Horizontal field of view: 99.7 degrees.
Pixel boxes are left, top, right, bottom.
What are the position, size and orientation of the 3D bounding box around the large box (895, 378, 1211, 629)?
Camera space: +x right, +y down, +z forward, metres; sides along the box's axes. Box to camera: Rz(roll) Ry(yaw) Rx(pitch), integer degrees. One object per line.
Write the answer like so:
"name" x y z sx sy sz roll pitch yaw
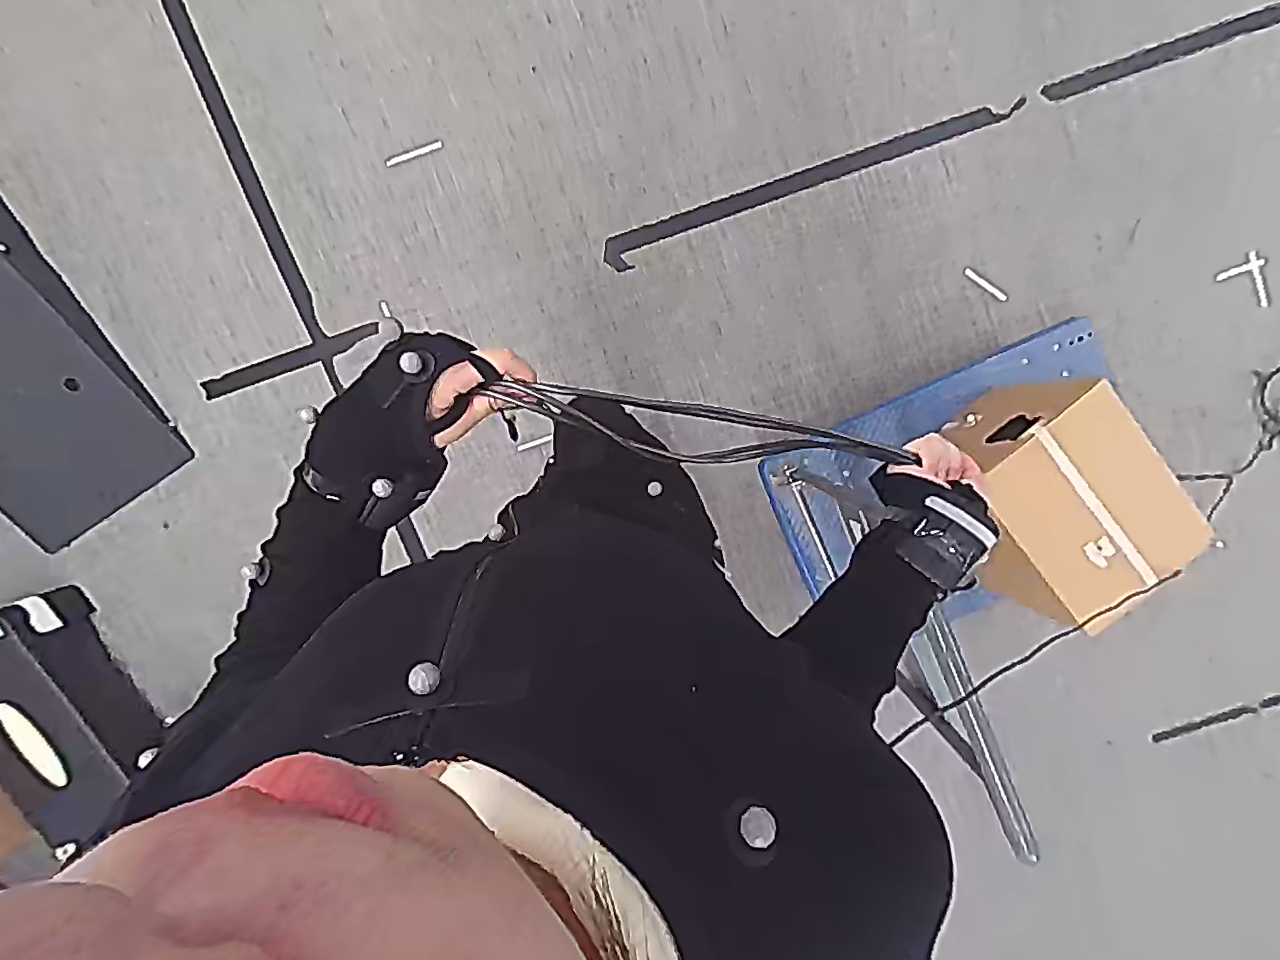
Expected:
"large box" 0.862 0.033 1.183 0.320 0.320 0.408 -40 97 4
